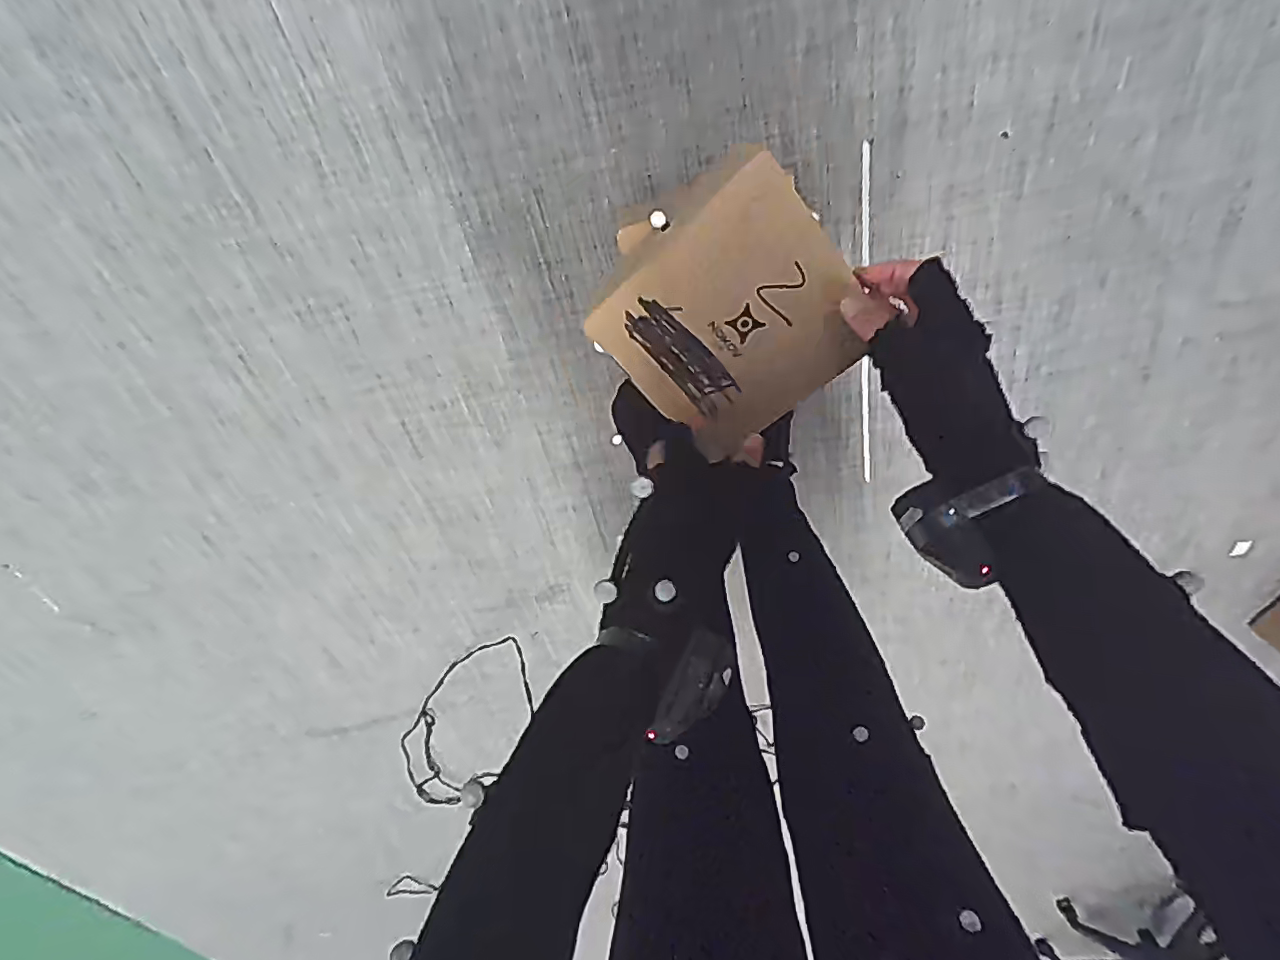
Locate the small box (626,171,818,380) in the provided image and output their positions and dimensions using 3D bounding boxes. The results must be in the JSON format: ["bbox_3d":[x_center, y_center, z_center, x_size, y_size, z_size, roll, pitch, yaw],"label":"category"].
[{"bbox_3d":[0.089,-0.240,0.623,0.179,0.176,0.168,-13,121,9],"label":"small box"}]
